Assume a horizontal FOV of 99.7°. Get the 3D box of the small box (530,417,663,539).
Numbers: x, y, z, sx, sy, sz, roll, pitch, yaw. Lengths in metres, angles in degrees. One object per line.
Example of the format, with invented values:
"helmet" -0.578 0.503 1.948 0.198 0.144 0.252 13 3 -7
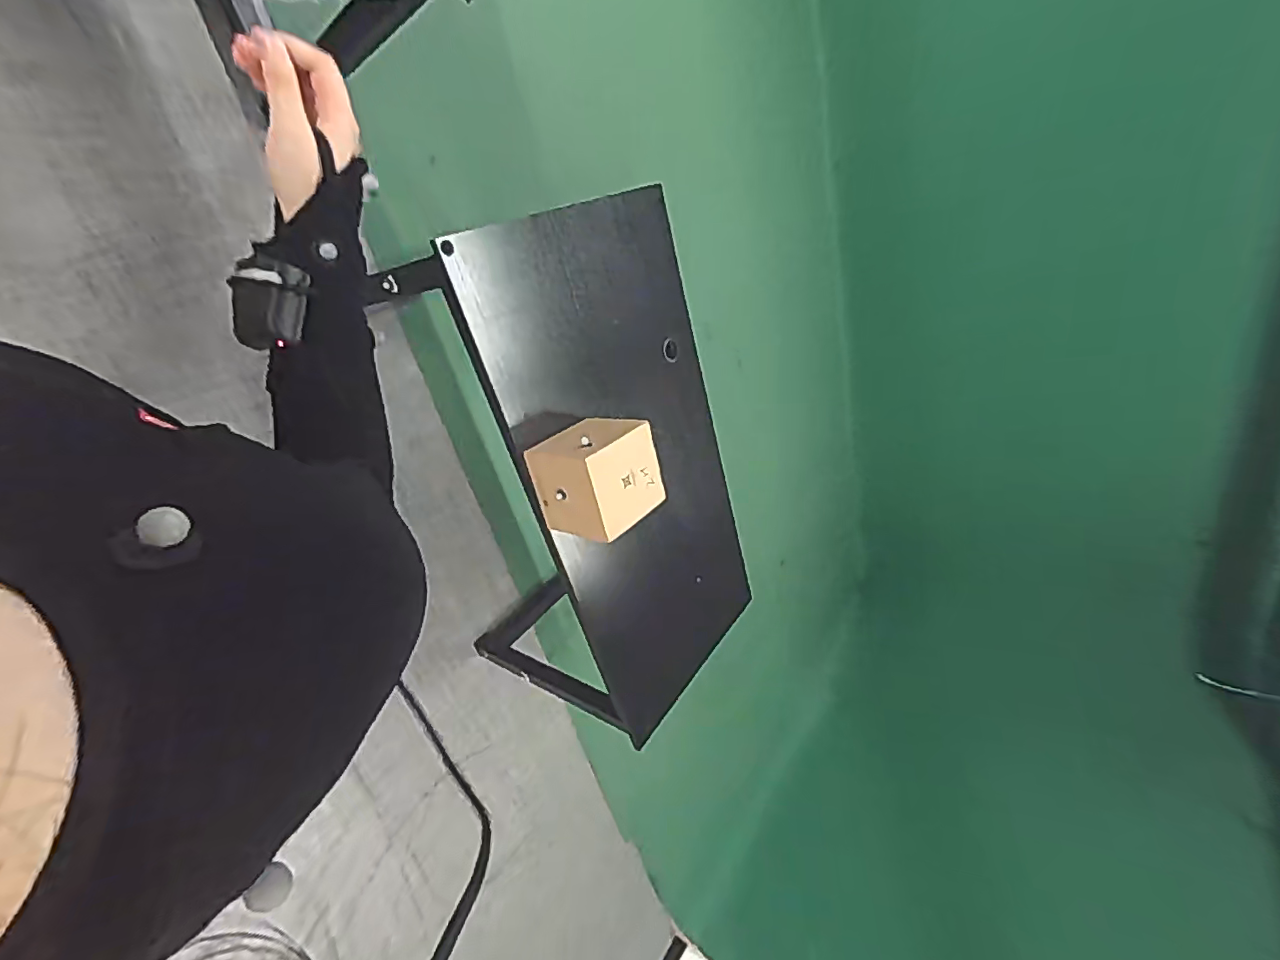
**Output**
"small box" -0.086 -0.012 1.017 0.179 0.176 0.168 -35 122 -41
